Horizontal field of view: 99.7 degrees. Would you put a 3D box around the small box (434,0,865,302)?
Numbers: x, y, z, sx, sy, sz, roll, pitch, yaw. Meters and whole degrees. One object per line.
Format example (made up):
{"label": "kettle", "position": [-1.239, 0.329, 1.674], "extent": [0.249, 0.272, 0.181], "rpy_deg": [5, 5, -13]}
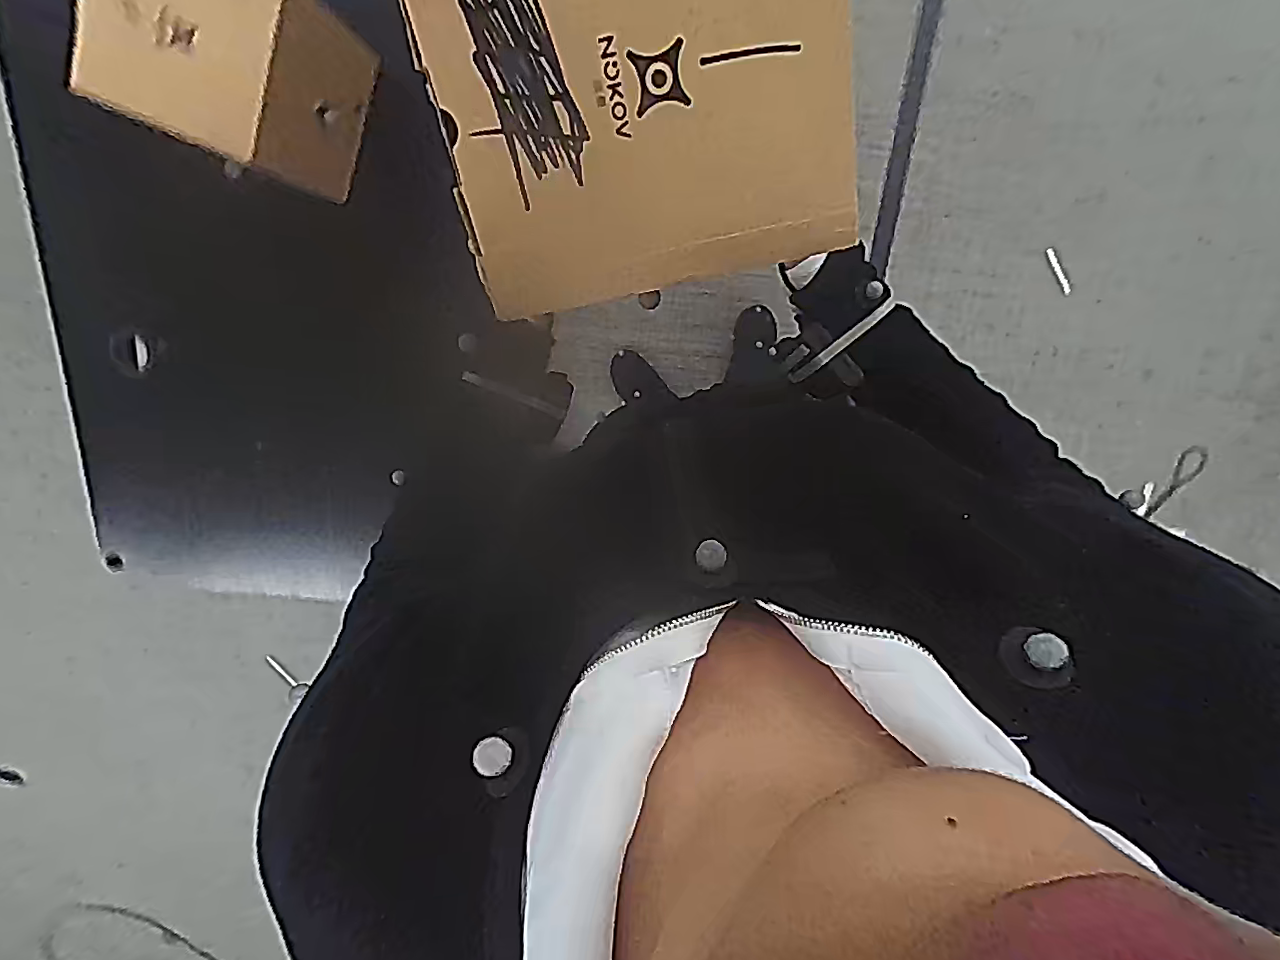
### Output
{"label": "small box", "position": [0.009, -0.206, 0.303], "extent": [0.179, 0.176, 0.168], "rpy_deg": [-9, 115, 5]}

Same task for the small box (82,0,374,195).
{"label": "small box", "position": [-0.420, -0.430, 0.578], "extent": [0.179, 0.176, 0.168], "rpy_deg": [22, 105, -4]}
